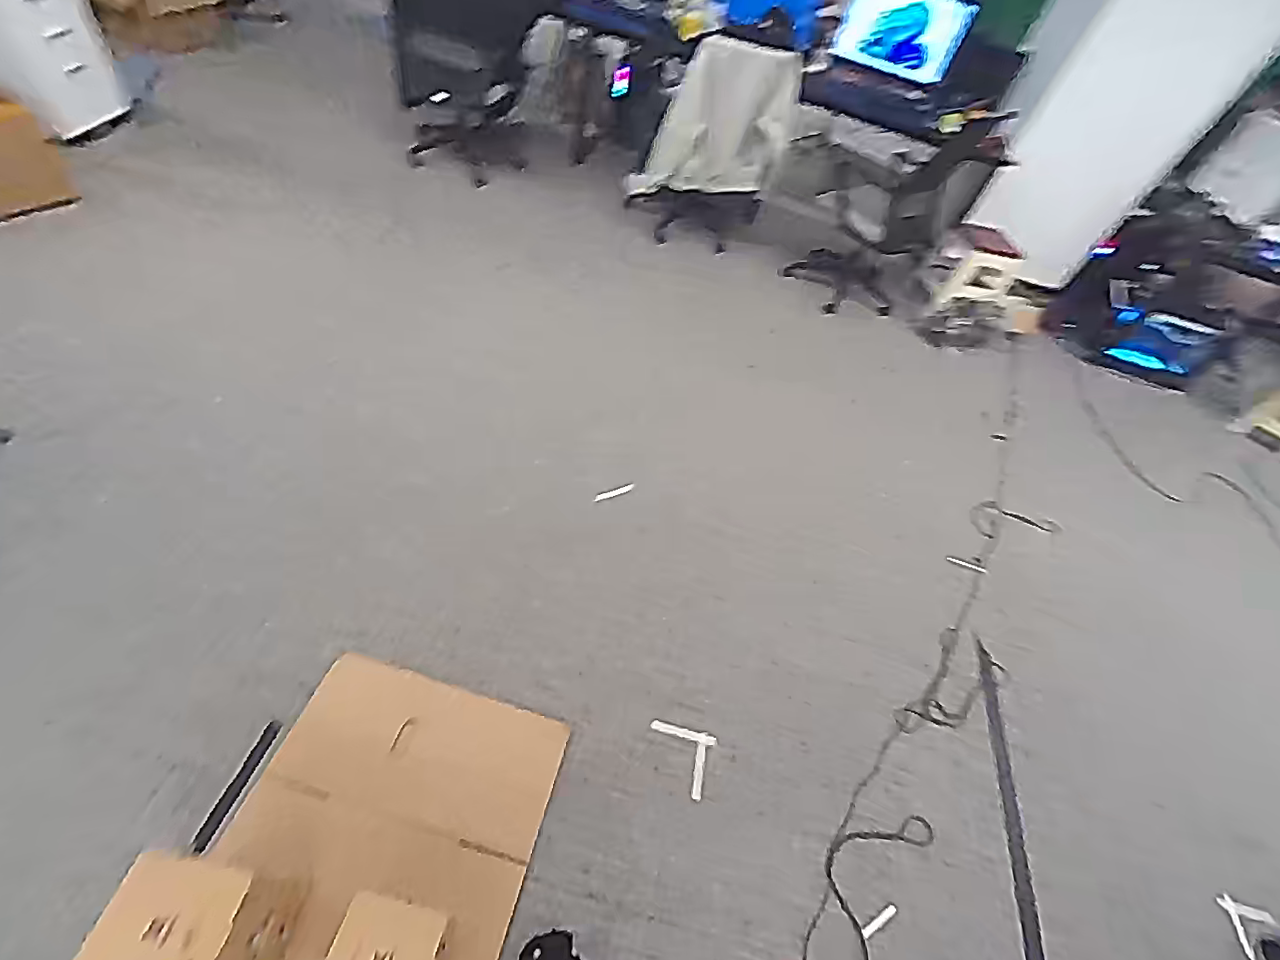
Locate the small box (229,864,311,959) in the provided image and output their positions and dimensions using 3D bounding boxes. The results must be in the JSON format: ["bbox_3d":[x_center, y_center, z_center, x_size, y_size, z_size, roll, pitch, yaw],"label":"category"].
[{"bbox_3d":[-0.719,0.789,0.954,0.179,0.176,0.168,13,49,-5],"label":"small box"}]

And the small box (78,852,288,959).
[{"bbox_3d":[-0.689,0.689,0.826,0.179,0.176,0.168,14,51,-4],"label":"small box"}]

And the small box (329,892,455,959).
[{"bbox_3d":[-0.447,0.861,0.968,0.179,0.176,0.168,15,49,-1],"label":"small box"}]
